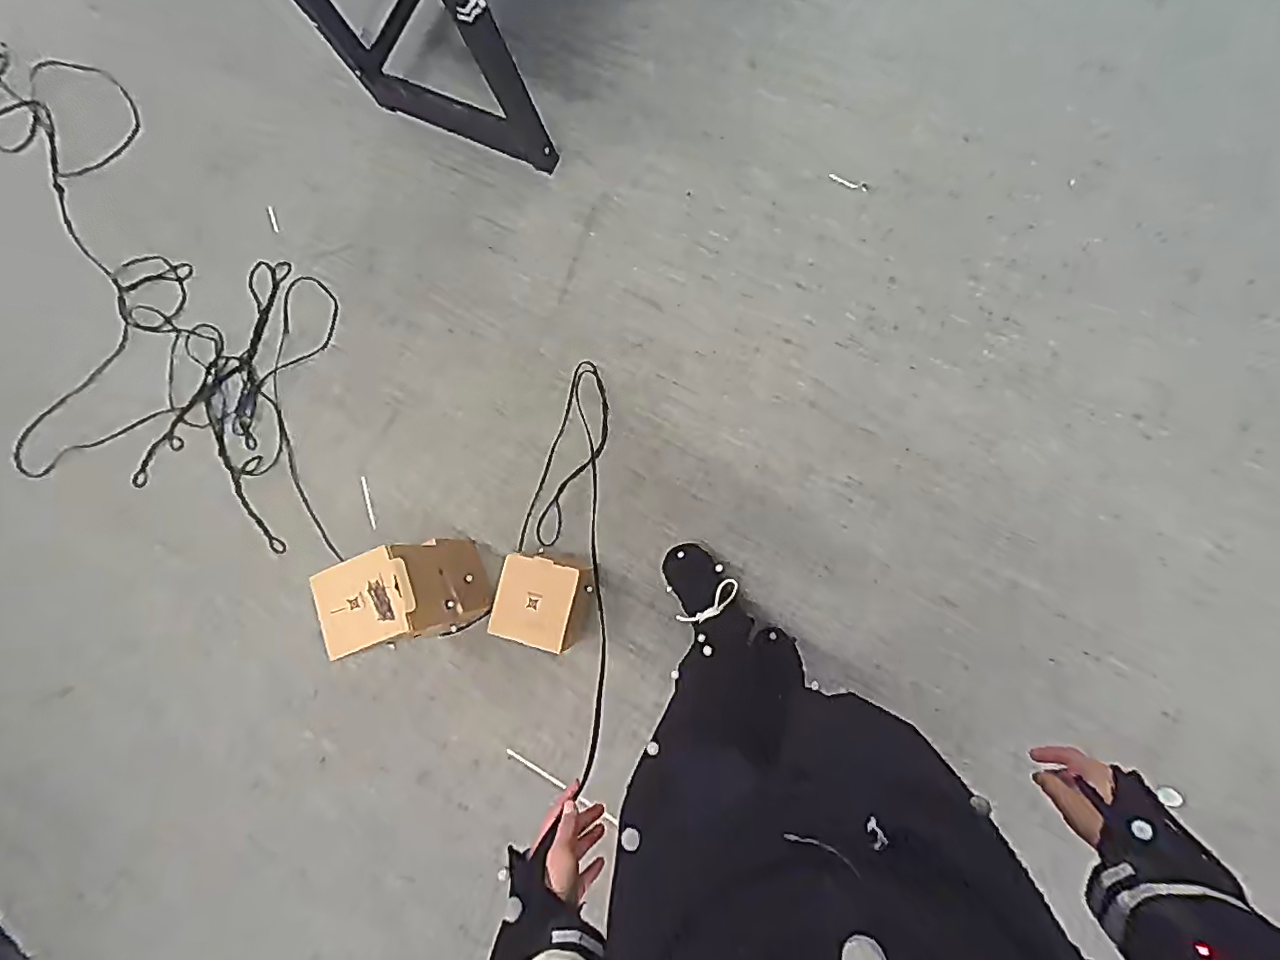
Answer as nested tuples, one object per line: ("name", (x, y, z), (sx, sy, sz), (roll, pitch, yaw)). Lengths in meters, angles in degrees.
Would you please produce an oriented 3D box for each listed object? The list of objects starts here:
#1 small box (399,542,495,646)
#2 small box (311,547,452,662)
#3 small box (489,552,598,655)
("small box", (-0.456, 0.249, 1.225), (0.168, 0.176, 0.179), (-27, 79, 6))
("small box", (-0.495, 0.236, 1.064), (0.179, 0.176, 0.168), (-22, 79, 8))
("small box", (-0.201, 0.260, 1.179), (0.168, 0.176, 0.179), (12, 85, 12))
